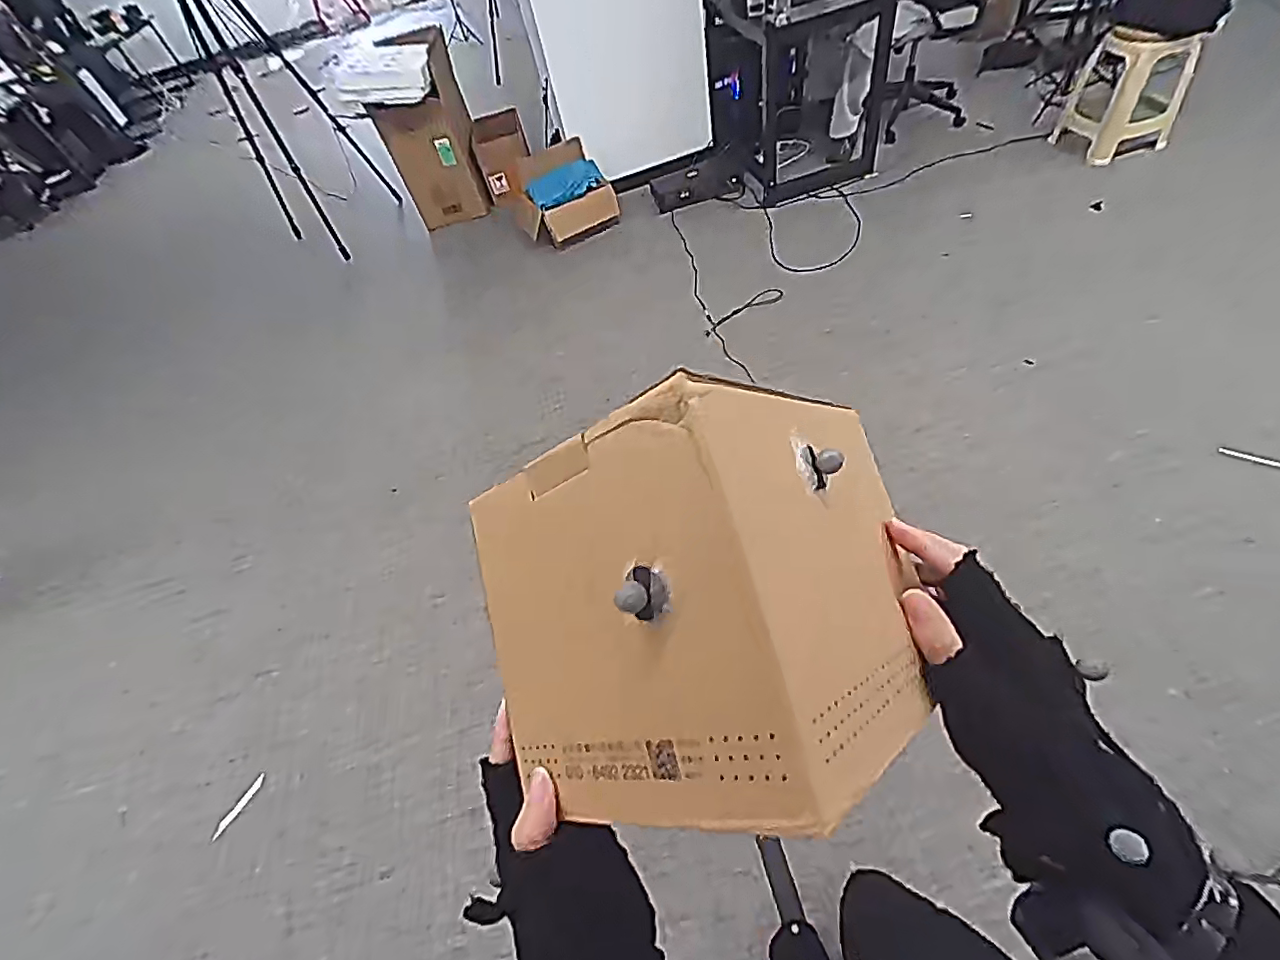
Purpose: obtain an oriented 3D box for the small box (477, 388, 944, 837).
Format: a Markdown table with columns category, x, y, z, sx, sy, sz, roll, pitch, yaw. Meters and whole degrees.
| category | x | y | z | sx | sy | sz | roll | pitch | yaw |
| --- | --- | --- | --- | --- | --- | --- | --- | --- | --- |
| small box | 0.040 | 0.067 | 0.301 | 0.168 | 0.179 | 0.176 | -26 | 74 | 40 |
